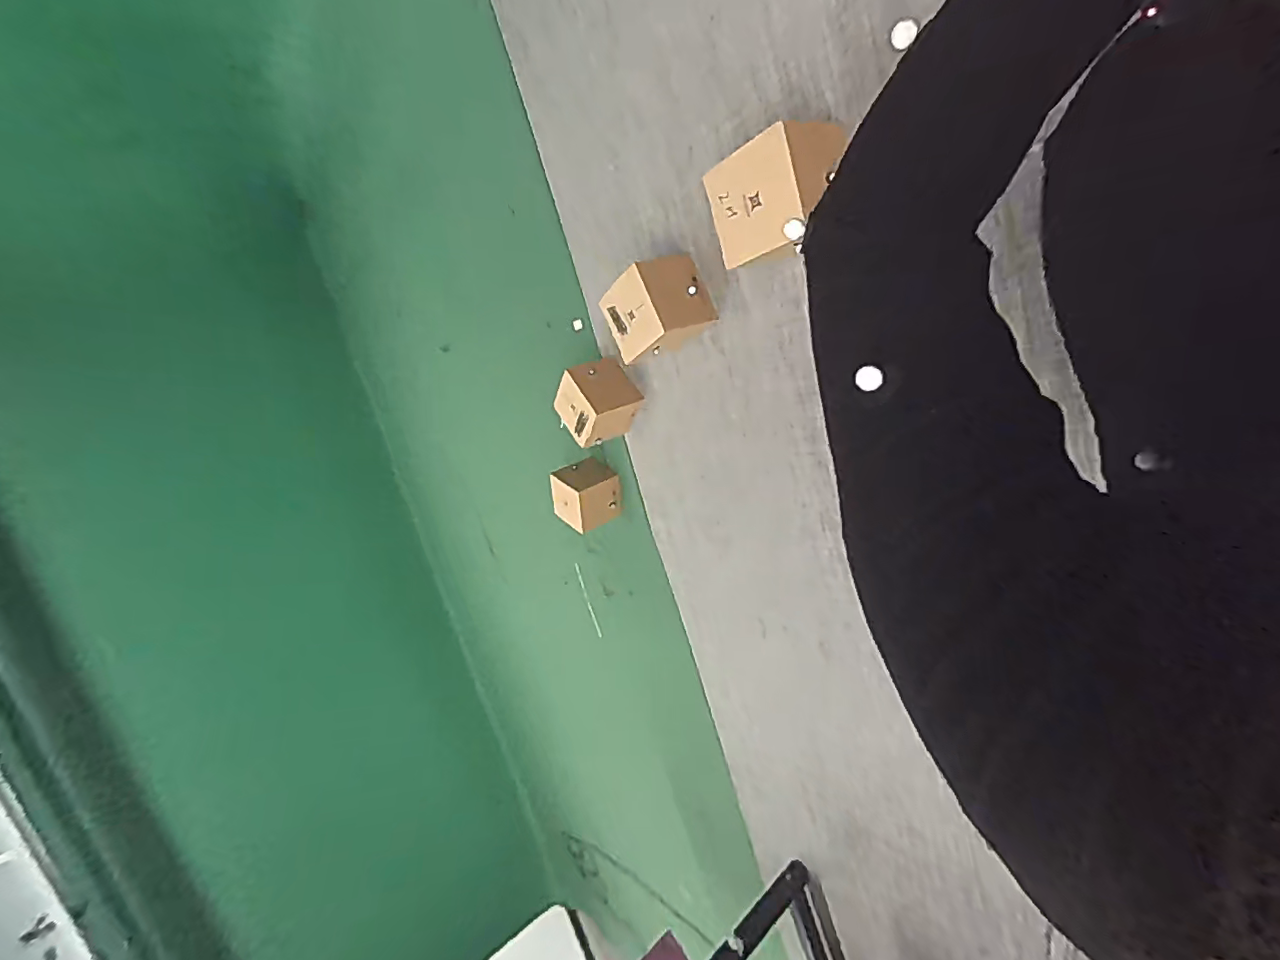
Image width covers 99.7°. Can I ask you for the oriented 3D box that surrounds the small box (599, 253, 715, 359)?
[{"bbox_3d":[0.039,-0.400,1.247,0.179,0.176,0.168,-23,90,56],"label":"small box"}]

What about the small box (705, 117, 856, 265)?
[{"bbox_3d":[0.244,-0.482,0.915,0.179,0.176,0.168,-1,108,54],"label":"small box"}]

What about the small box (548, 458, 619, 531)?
[{"bbox_3d":[-0.190,0.041,1.831,0.179,0.176,0.168,30,132,42],"label":"small box"}]
